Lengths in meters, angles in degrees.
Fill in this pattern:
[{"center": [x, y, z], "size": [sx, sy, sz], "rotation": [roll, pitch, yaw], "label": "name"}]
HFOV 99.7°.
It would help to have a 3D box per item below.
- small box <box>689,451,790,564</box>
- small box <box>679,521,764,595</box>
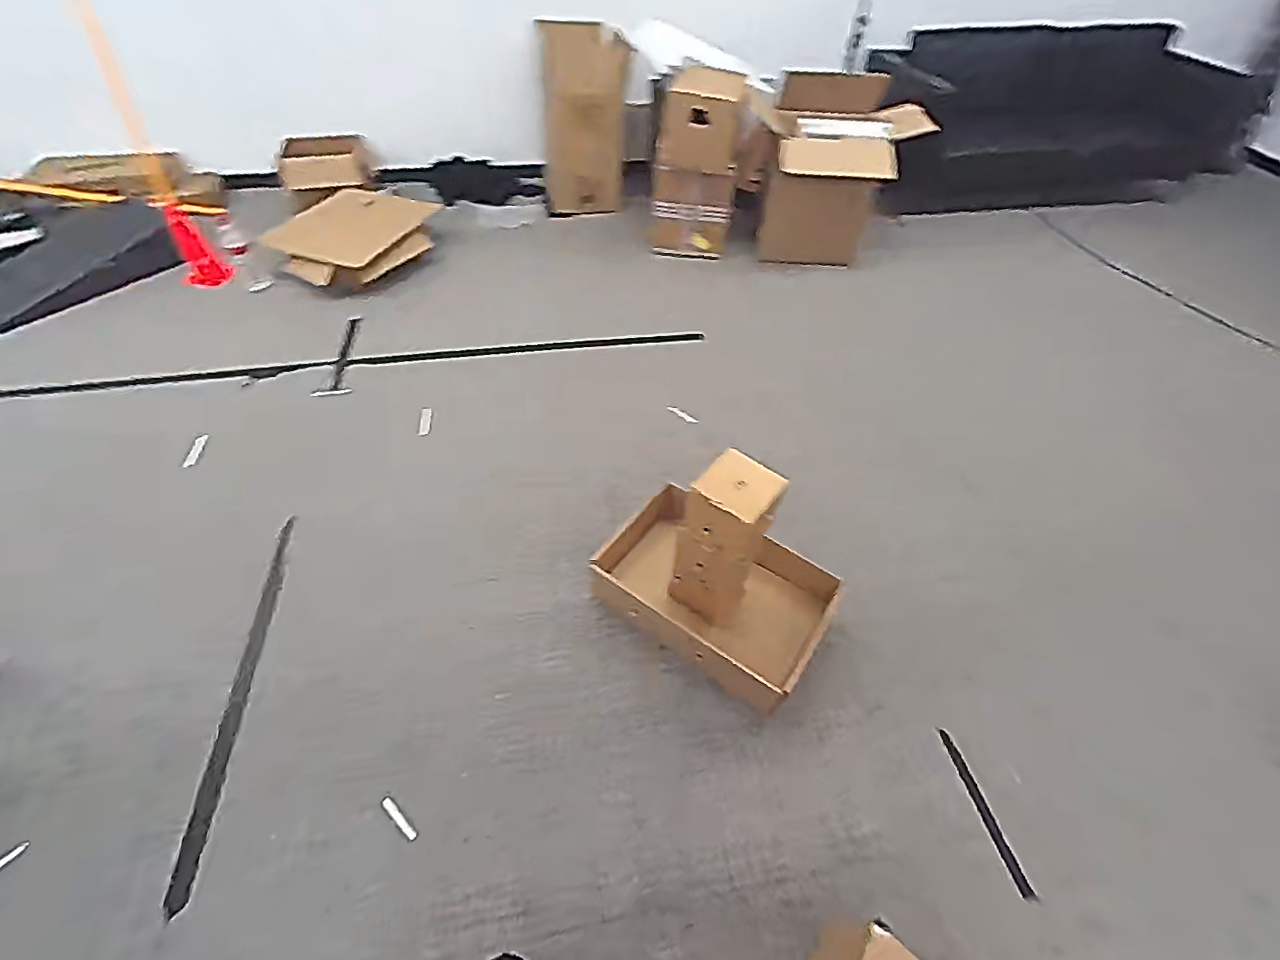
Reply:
[{"center": [0.235, 0.068, 1.326], "size": [0.168, 0.176, 0.179], "rotation": [34, 55, 23], "label": "small box"}, {"center": [0.217, 0.176, 1.447], "size": [0.168, 0.176, 0.179], "rotation": [35, 56, 23], "label": "small box"}]
